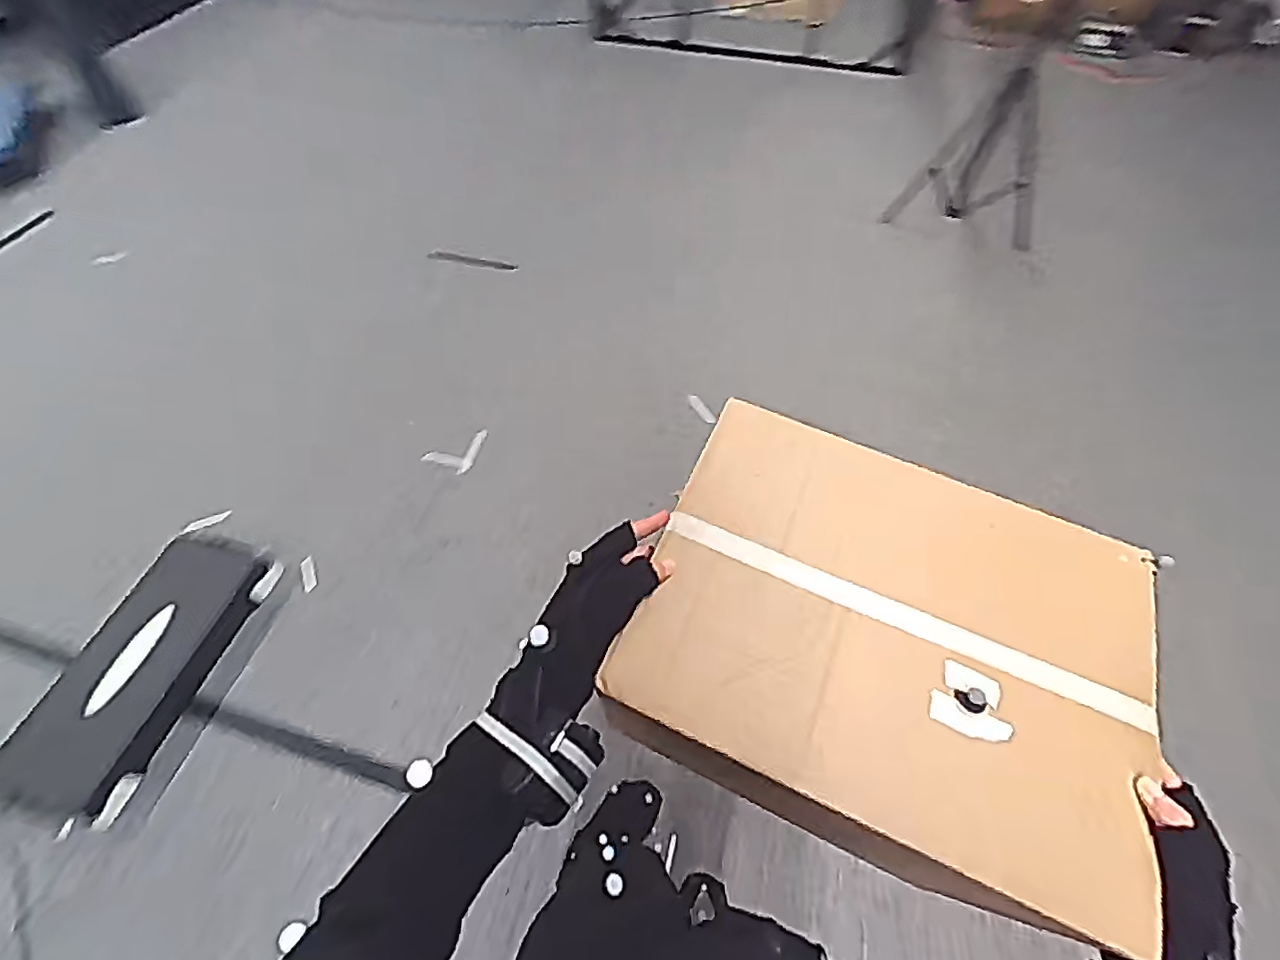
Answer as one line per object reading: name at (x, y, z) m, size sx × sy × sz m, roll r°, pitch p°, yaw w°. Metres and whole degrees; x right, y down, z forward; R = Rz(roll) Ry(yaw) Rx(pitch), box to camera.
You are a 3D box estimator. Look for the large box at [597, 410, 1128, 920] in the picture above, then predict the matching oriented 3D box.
large box at (0.197, 0.185, 0.595) m, size 0.408 × 0.320 × 0.320 m, roll 21°, pitch 62°, yaw 10°
